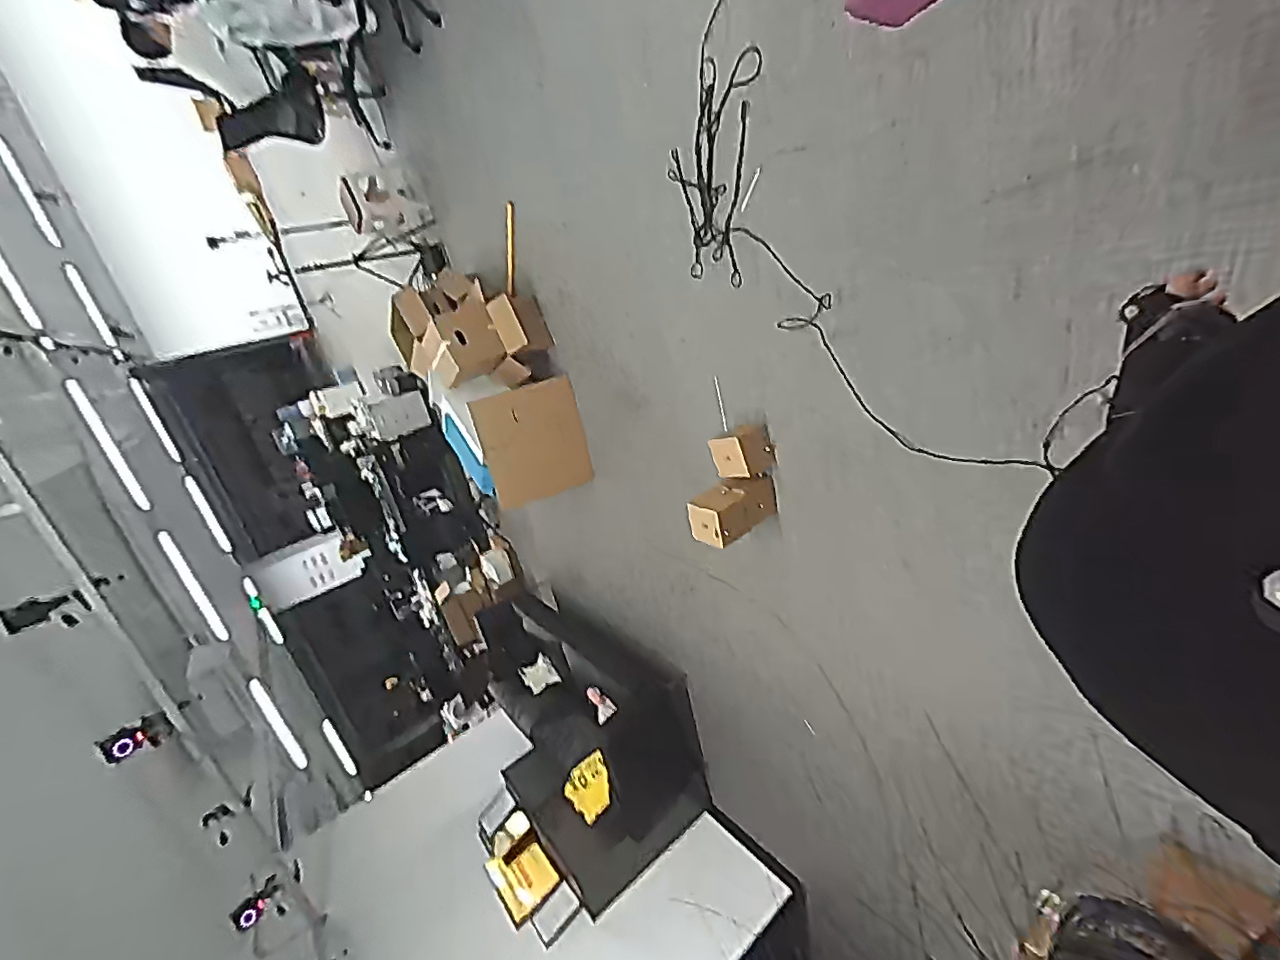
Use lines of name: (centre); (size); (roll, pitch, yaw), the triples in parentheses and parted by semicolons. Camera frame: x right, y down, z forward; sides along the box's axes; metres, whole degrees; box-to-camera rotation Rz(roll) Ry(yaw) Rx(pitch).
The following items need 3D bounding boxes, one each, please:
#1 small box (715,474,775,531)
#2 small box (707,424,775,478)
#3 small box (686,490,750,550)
small box: (0.439, 0.083, 2.243); (0.168, 0.176, 0.179); (15, 126, 53)
small box: (0.403, -0.114, 2.151); (0.179, 0.176, 0.168); (0, 114, 56)
small box: (0.314, 0.151, 2.162); (0.179, 0.176, 0.168); (17, 127, 52)
